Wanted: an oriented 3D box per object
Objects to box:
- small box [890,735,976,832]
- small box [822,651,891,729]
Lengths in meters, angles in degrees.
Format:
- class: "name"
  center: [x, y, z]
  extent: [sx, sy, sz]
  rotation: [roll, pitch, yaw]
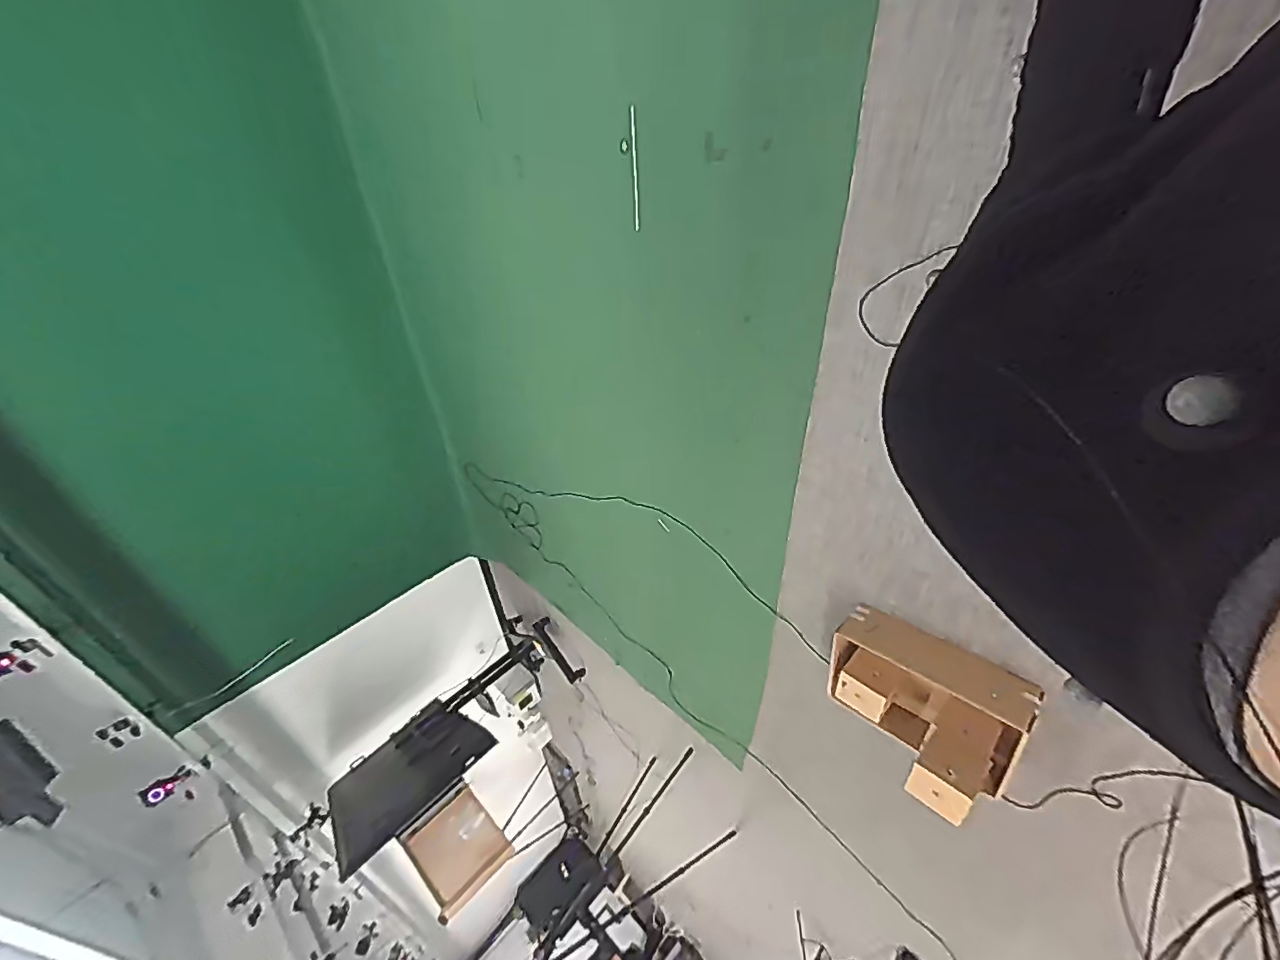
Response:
- class: "small box"
  center: [0.943, 0.968, 1.737]
  extent: [0.179, 0.176, 0.168]
  rotation: [28, 134, 37]
- class: "small box"
  center: [0.816, 0.783, 2.034]
  extent: [0.179, 0.176, 0.168]
  rotation: [28, 135, 35]
